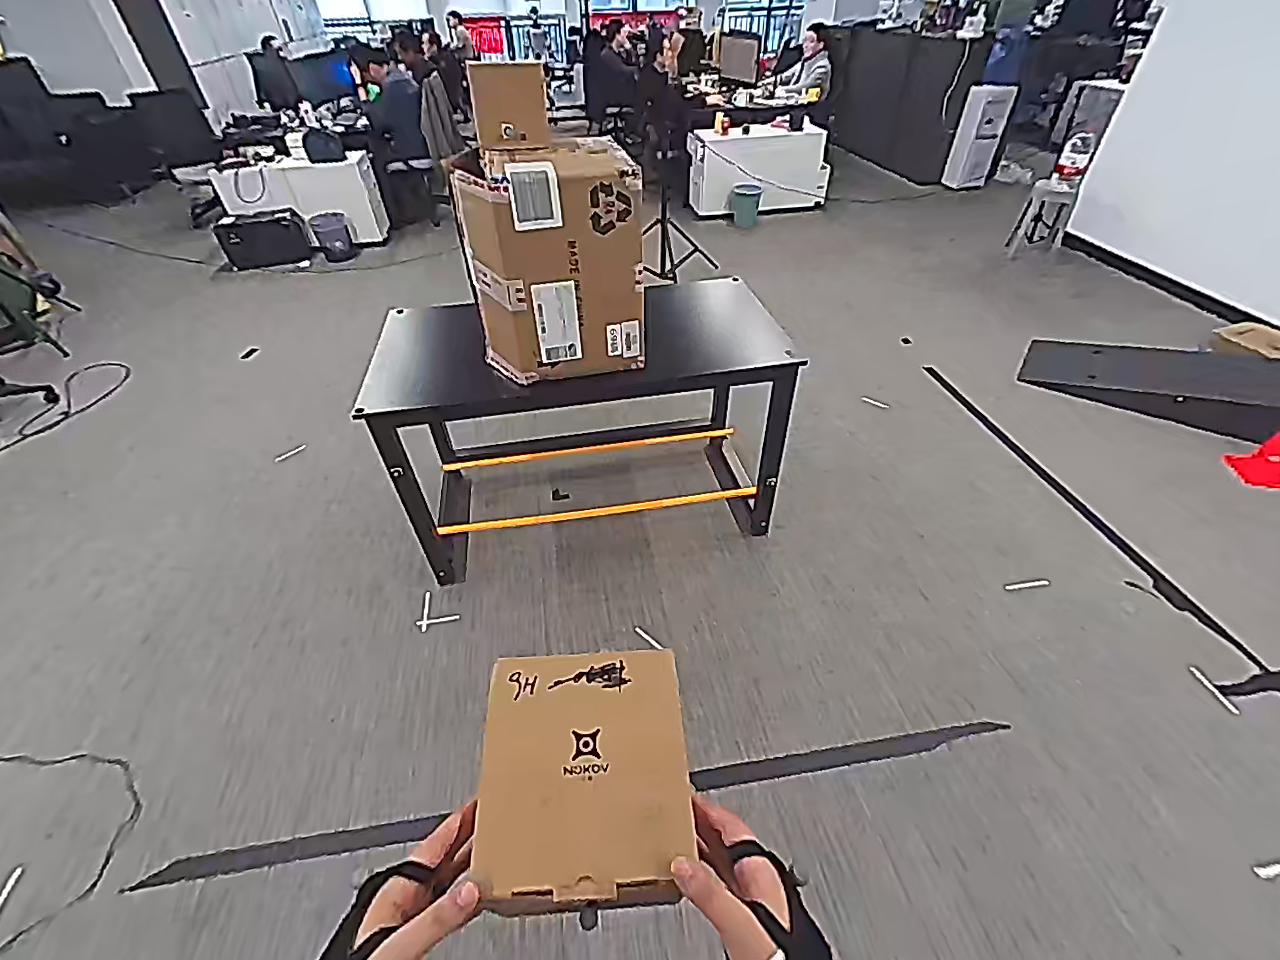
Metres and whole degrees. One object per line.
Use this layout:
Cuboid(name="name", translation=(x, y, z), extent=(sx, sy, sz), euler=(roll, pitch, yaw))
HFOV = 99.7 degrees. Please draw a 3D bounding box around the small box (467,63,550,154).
Cuboid(name="small box", translation=(-0.316, -0.895, 1.301), extent=(0.168, 0.176, 0.179), euler=(-11, 41, -11))
